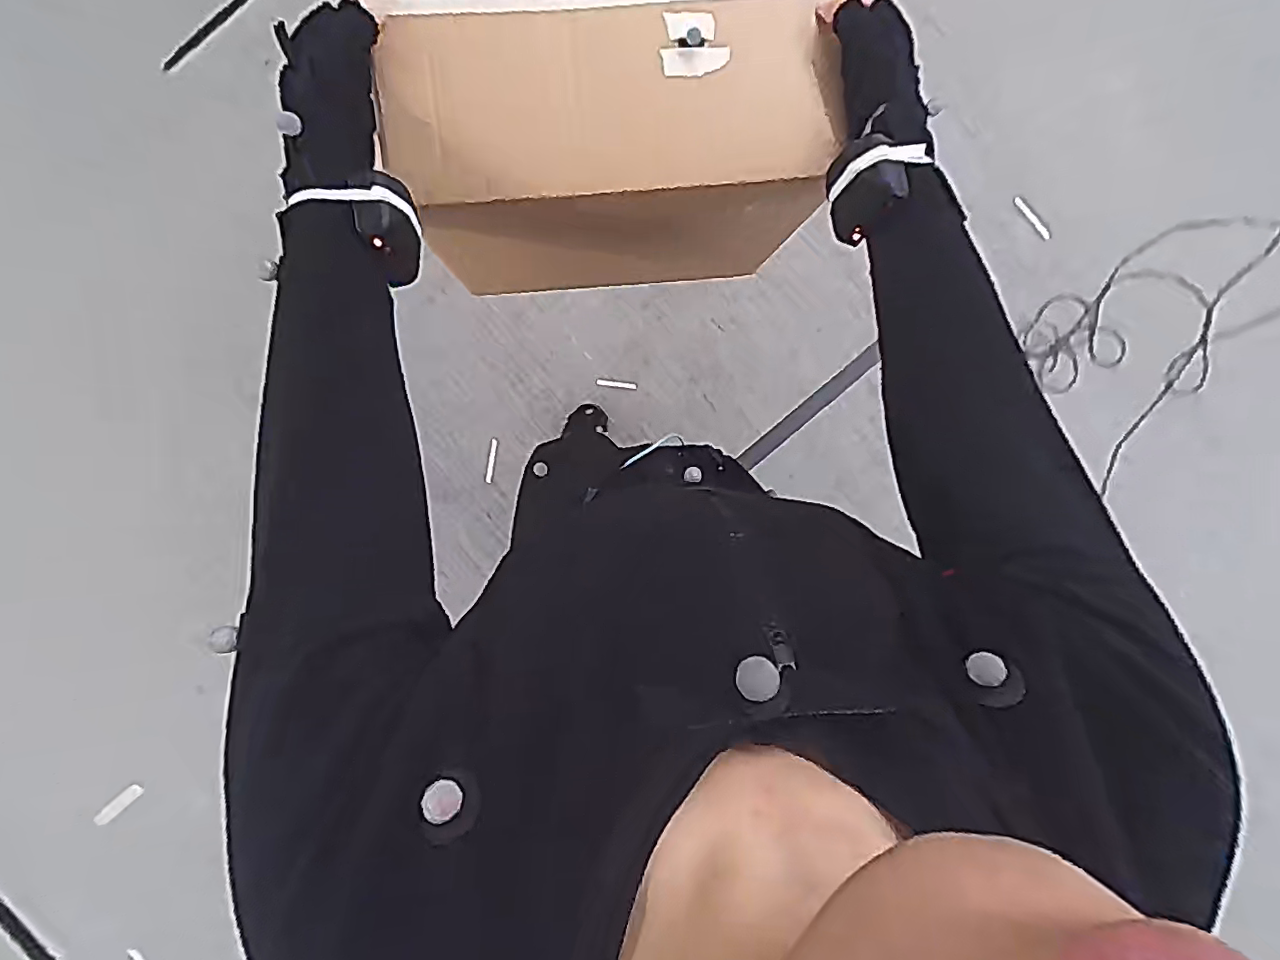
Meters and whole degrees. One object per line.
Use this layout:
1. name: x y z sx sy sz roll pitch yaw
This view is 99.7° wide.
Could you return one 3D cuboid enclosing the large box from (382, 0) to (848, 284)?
1. large box: -0.035 -0.430 0.611 0.408 0.320 0.320 -5 96 -5
